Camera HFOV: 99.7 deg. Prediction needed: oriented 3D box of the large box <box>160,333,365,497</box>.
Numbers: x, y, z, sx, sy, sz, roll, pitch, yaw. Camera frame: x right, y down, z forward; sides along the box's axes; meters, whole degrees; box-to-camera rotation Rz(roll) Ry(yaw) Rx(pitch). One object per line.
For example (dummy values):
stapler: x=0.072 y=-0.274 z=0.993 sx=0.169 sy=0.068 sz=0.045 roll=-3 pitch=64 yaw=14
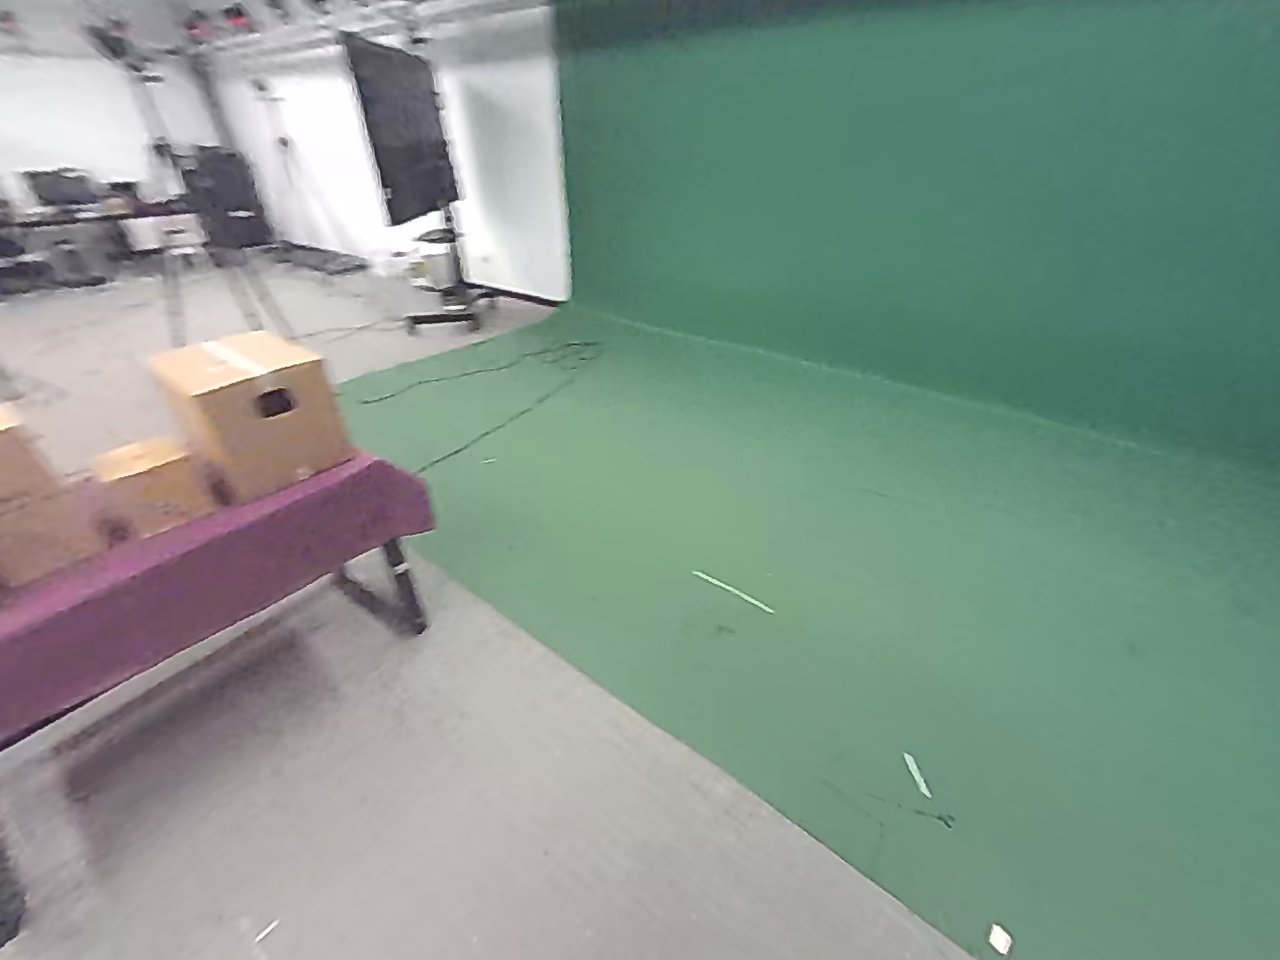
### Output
large box: x=-1.071 y=-0.202 z=1.557 sx=0.408 sy=0.320 sz=0.320 roll=24 pitch=40 yaw=31
